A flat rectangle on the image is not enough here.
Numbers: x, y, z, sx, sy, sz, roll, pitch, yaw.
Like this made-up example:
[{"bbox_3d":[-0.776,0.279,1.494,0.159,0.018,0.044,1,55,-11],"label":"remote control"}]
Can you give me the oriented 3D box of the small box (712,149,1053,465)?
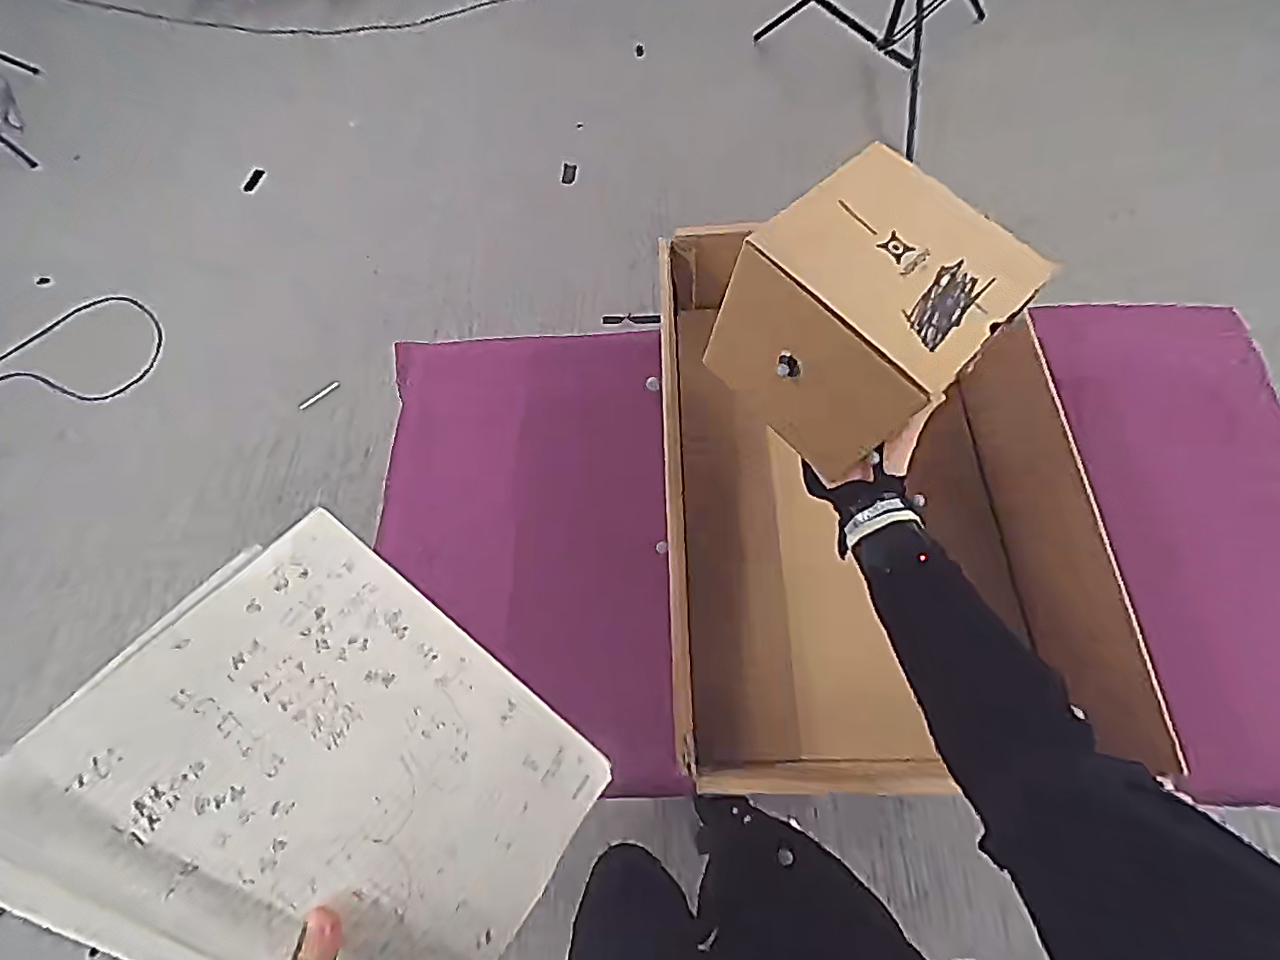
[{"bbox_3d":[0.189,-0.133,0.475,0.168,0.176,0.179,-39,76,-17],"label":"small box"}]
